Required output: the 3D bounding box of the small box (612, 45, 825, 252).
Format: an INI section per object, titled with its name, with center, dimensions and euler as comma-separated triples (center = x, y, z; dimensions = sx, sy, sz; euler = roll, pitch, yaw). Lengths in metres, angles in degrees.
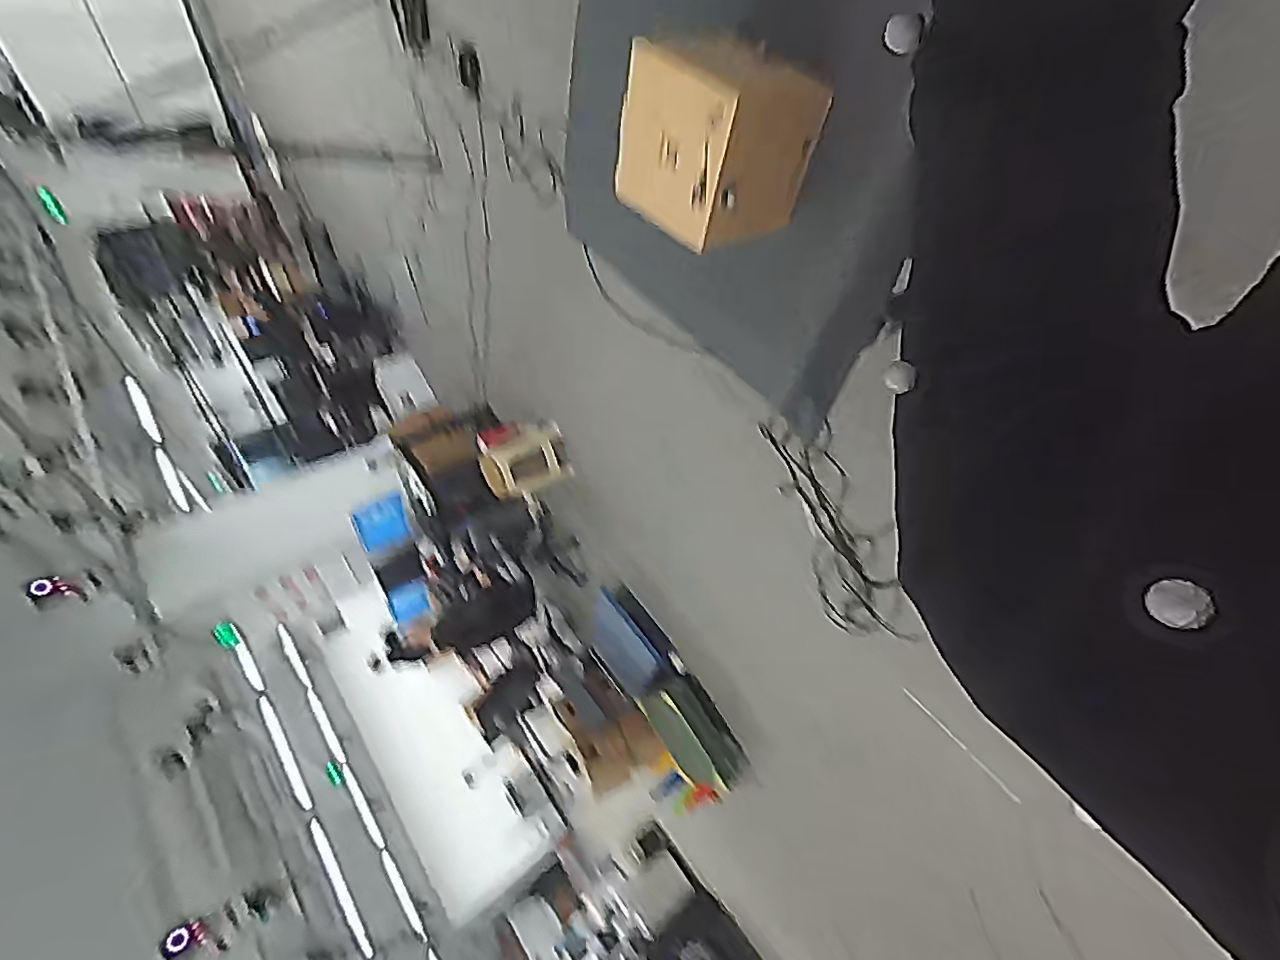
[small box]
center = 0.091, -0.415, 0.676
dimensions = 0.179, 0.176, 0.168
euler = 47, 146, 25
